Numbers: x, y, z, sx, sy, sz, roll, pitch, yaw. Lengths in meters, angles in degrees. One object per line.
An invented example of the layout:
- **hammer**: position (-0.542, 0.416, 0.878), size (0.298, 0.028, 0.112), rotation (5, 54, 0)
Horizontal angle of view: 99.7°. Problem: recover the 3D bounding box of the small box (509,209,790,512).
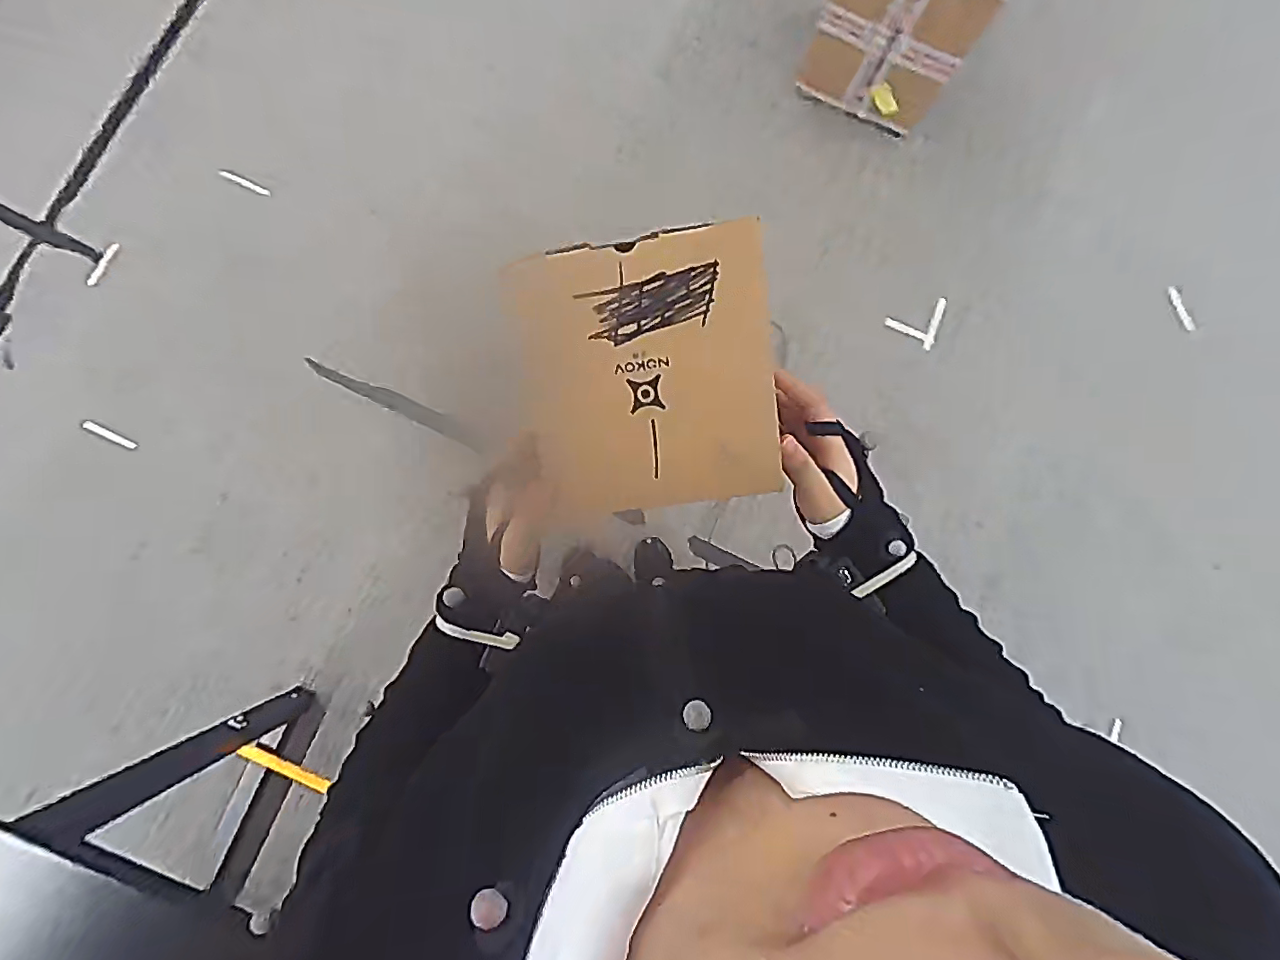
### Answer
- **small box**: position (0.014, -0.089, 0.426), size (0.168, 0.176, 0.179), rotation (-7, 105, 6)
